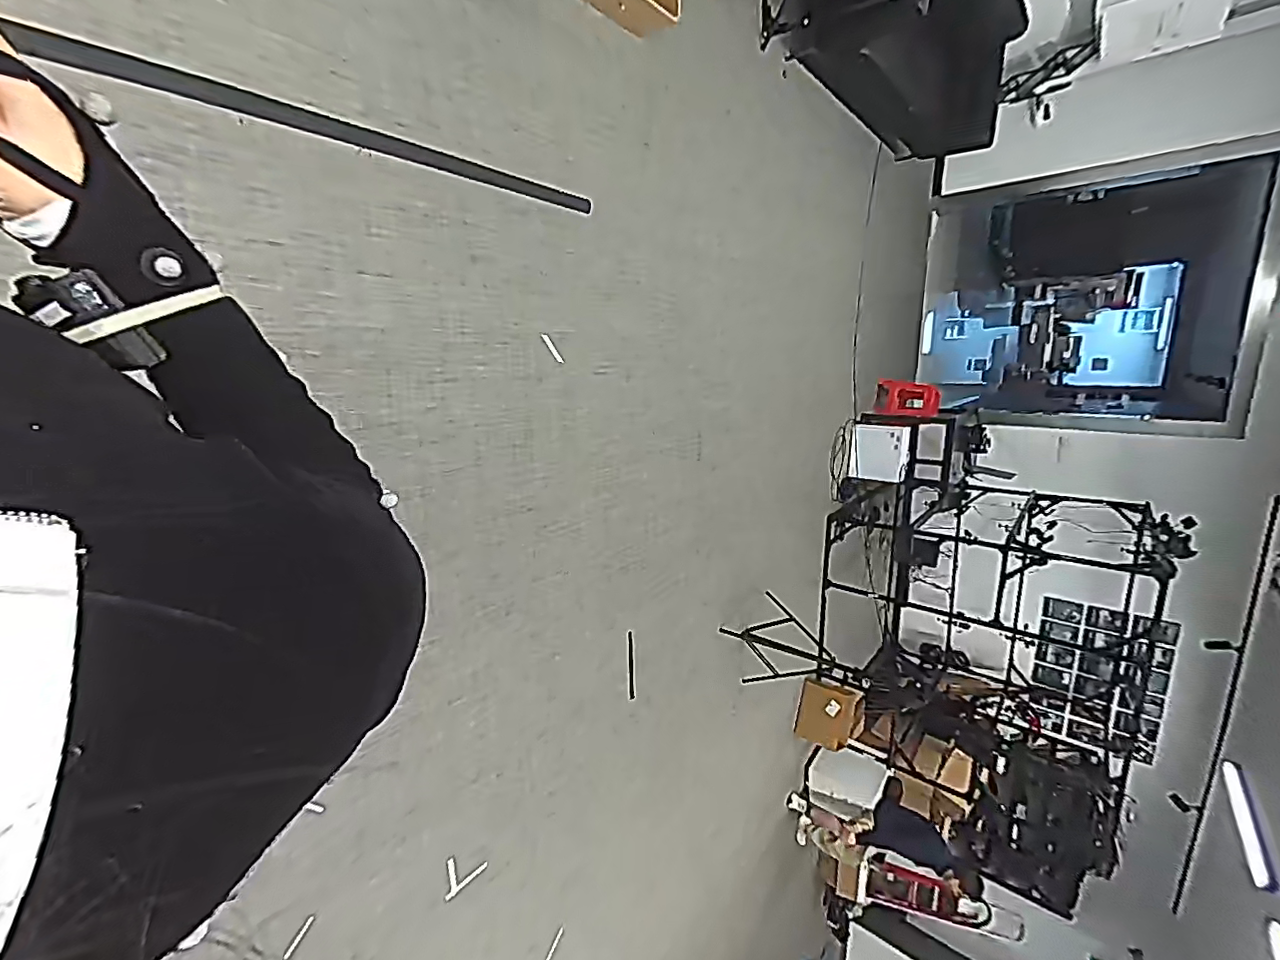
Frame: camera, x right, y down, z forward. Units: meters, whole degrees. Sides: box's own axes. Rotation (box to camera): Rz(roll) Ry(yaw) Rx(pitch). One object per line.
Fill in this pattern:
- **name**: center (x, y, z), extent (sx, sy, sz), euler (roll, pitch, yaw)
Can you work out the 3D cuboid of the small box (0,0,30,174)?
- **small box**: center (-0.336, -0.209, 0.165), extent (0.168, 0.176, 0.179), euler (-14, 96, -53)
